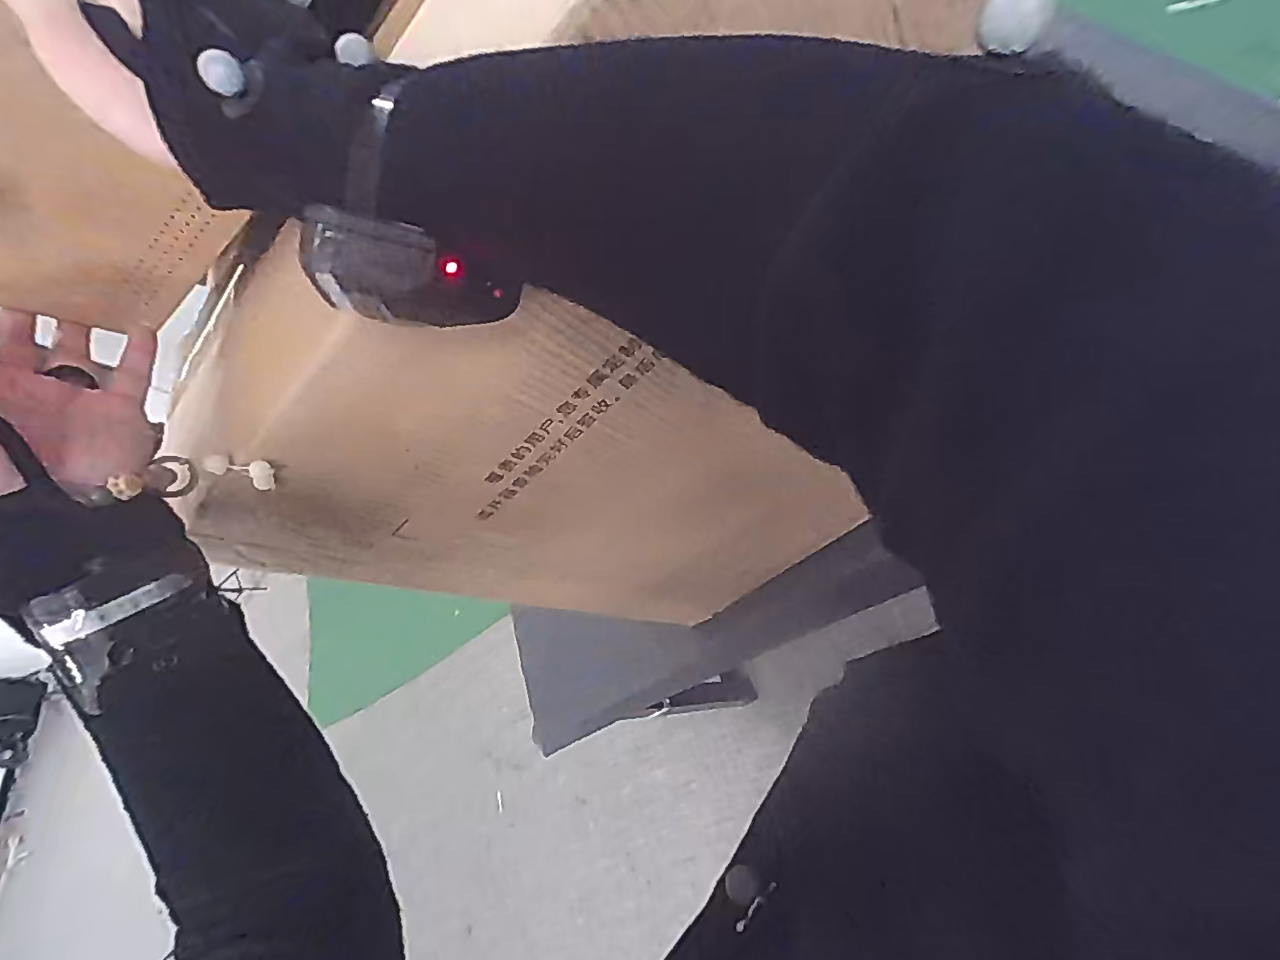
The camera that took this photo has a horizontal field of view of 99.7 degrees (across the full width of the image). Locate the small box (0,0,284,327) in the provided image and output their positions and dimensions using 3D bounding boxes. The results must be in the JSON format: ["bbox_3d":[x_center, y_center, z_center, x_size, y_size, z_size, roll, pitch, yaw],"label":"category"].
[{"bbox_3d":[-0.310,-0.202,0.258,0.179,0.176,0.168,-30,73,24],"label":"small box"}]
